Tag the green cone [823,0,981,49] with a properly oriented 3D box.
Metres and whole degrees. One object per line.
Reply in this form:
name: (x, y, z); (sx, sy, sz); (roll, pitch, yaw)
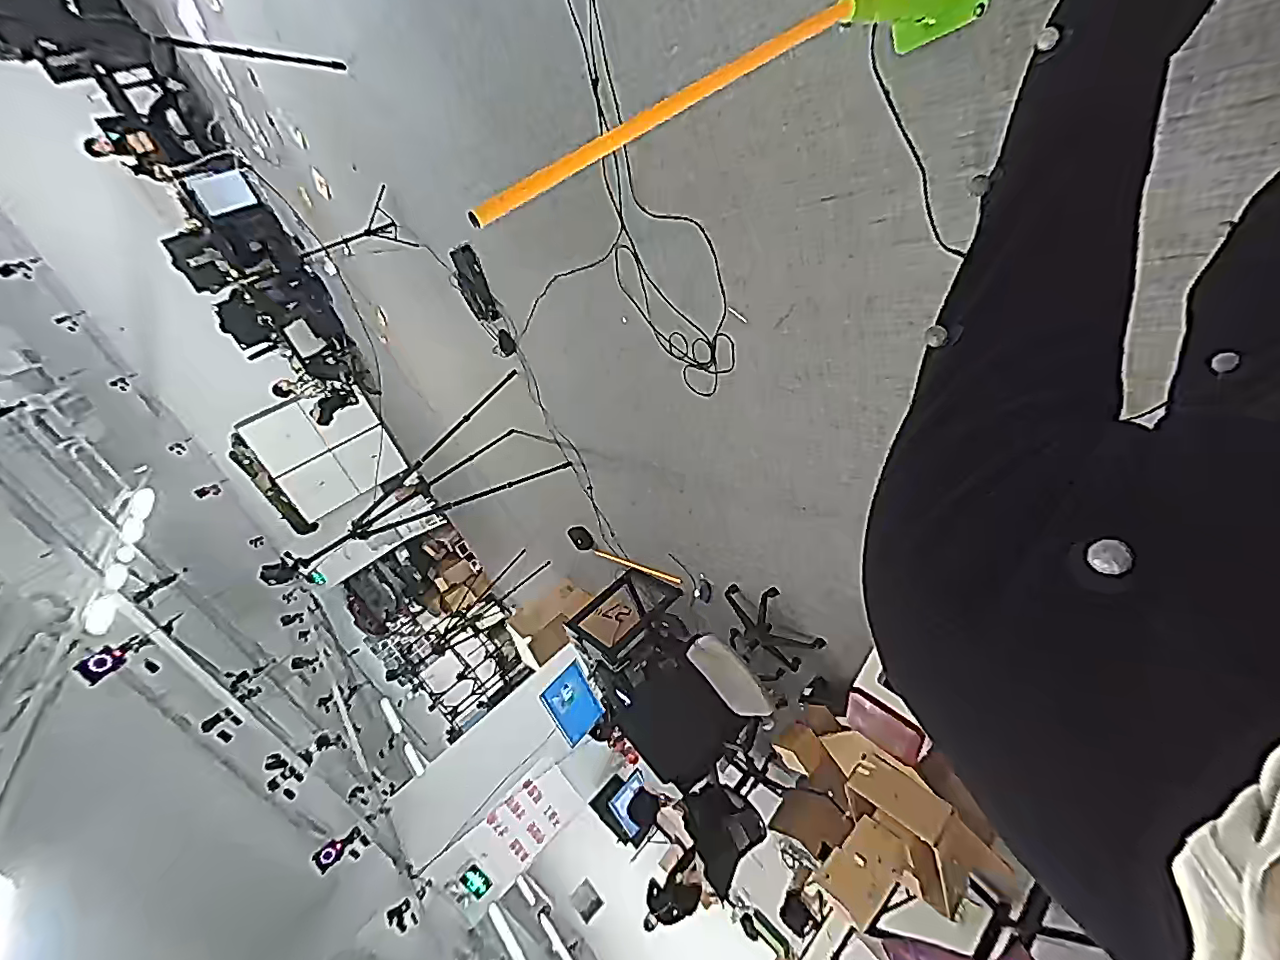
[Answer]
green cone: (0.492, -0.978, 1.078); (0.202, 0.368, 0.200); (15, 135, 53)
